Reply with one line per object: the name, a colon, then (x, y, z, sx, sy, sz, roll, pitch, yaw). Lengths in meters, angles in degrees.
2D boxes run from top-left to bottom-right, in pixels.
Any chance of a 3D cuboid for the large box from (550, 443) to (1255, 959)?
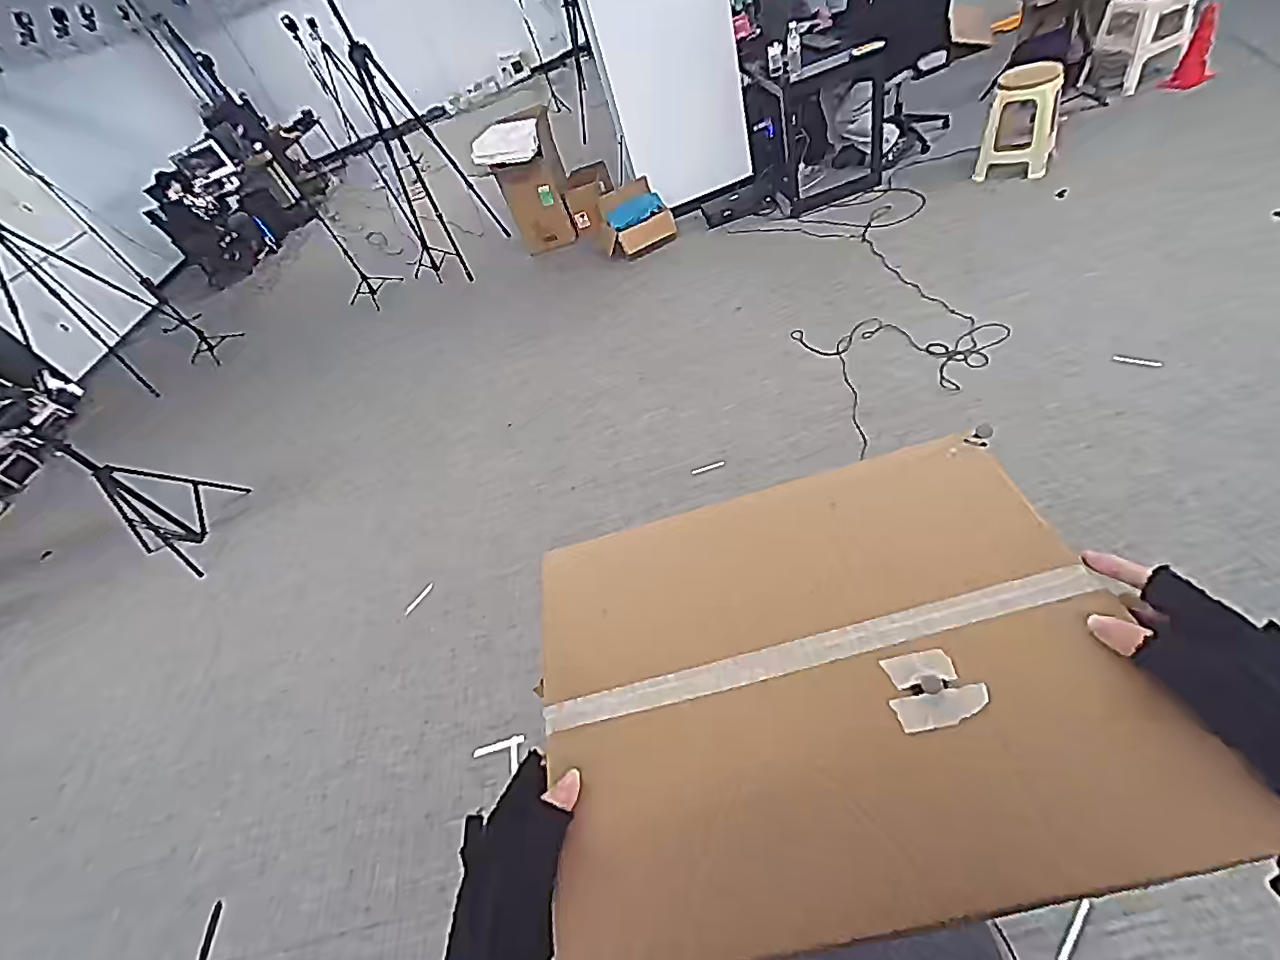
large box: (0.161, 0.226, 0.517, 0.408, 0.320, 0.320, -17, 48, 5)
